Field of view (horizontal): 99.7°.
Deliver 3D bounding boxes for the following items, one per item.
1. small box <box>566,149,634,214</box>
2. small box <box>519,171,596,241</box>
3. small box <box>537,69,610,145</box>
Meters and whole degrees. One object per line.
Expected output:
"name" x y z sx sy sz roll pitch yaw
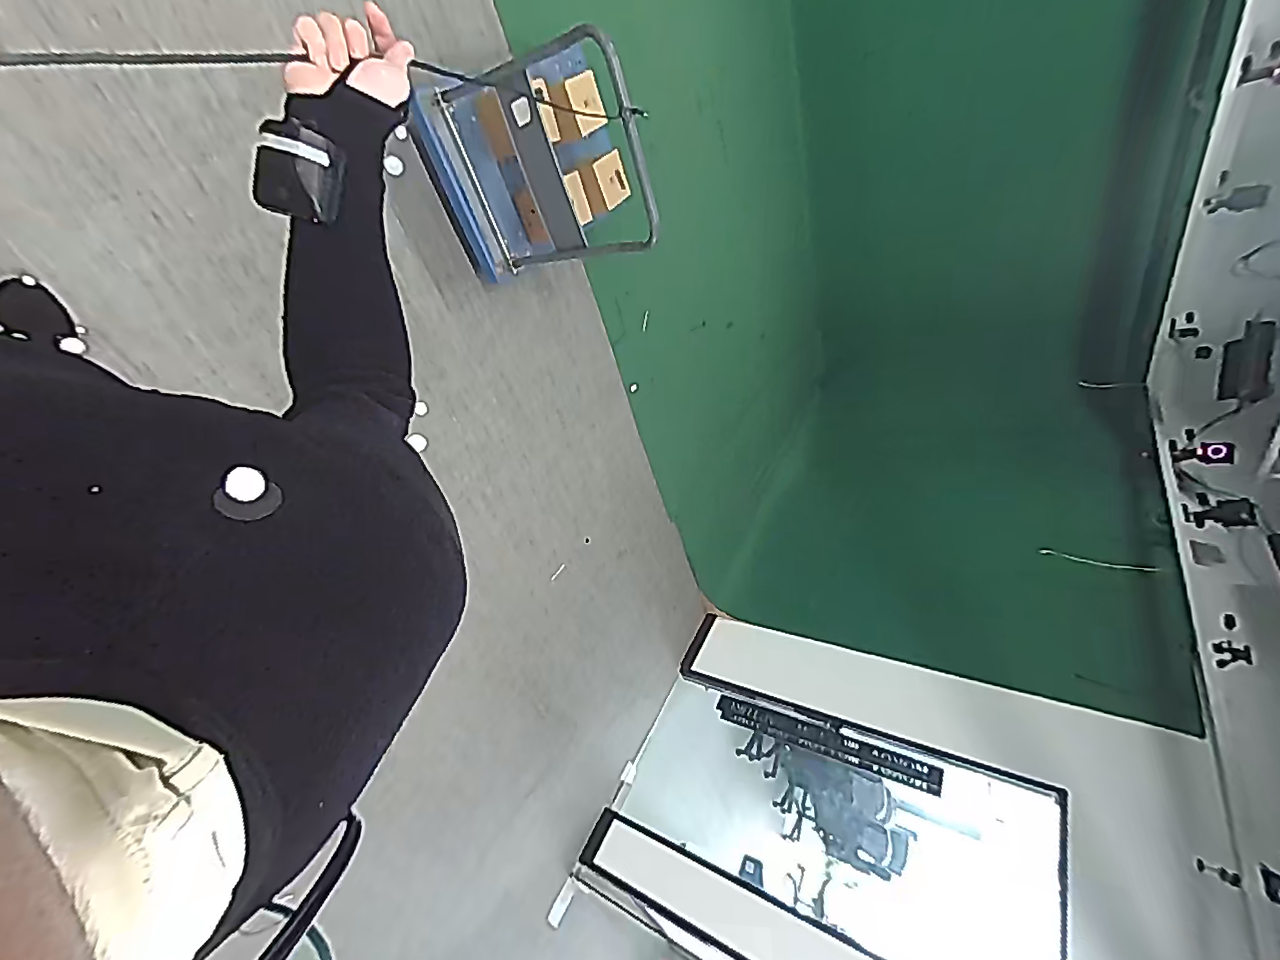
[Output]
"small box" -0.156 -1.130 2.061 0.179 0.176 0.168 -54 135 -34
"small box" -0.290 -0.961 1.899 0.179 0.176 0.168 -50 134 -37
"small box" -0.241 -1.313 1.910 0.179 0.176 0.168 -55 137 -35
